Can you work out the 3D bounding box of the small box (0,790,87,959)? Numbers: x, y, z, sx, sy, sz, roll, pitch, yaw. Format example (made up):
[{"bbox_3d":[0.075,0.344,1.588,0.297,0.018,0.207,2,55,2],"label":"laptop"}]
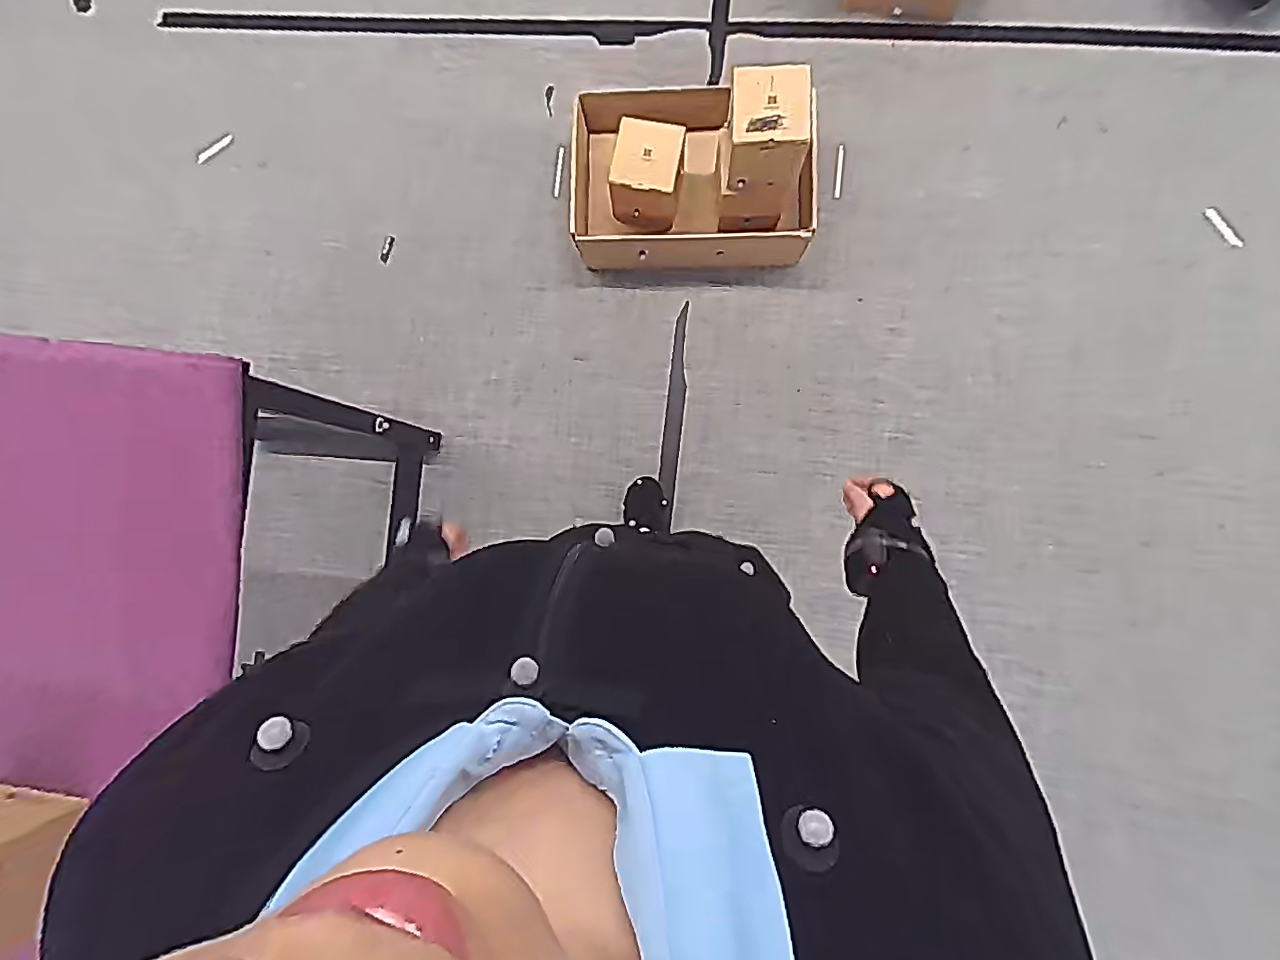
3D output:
[{"bbox_3d":[-0.914,0.551,0.728,0.168,0.176,0.179,6,87,5],"label":"small box"}]

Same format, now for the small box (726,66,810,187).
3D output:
[{"bbox_3d":[0.287,-0.797,1.237,0.168,0.176,0.179,1,85,4],"label":"small box"}]

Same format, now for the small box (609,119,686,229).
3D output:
[{"bbox_3d":[0.021,-0.800,1.424,0.168,0.176,0.179,11,87,3],"label":"small box"}]
